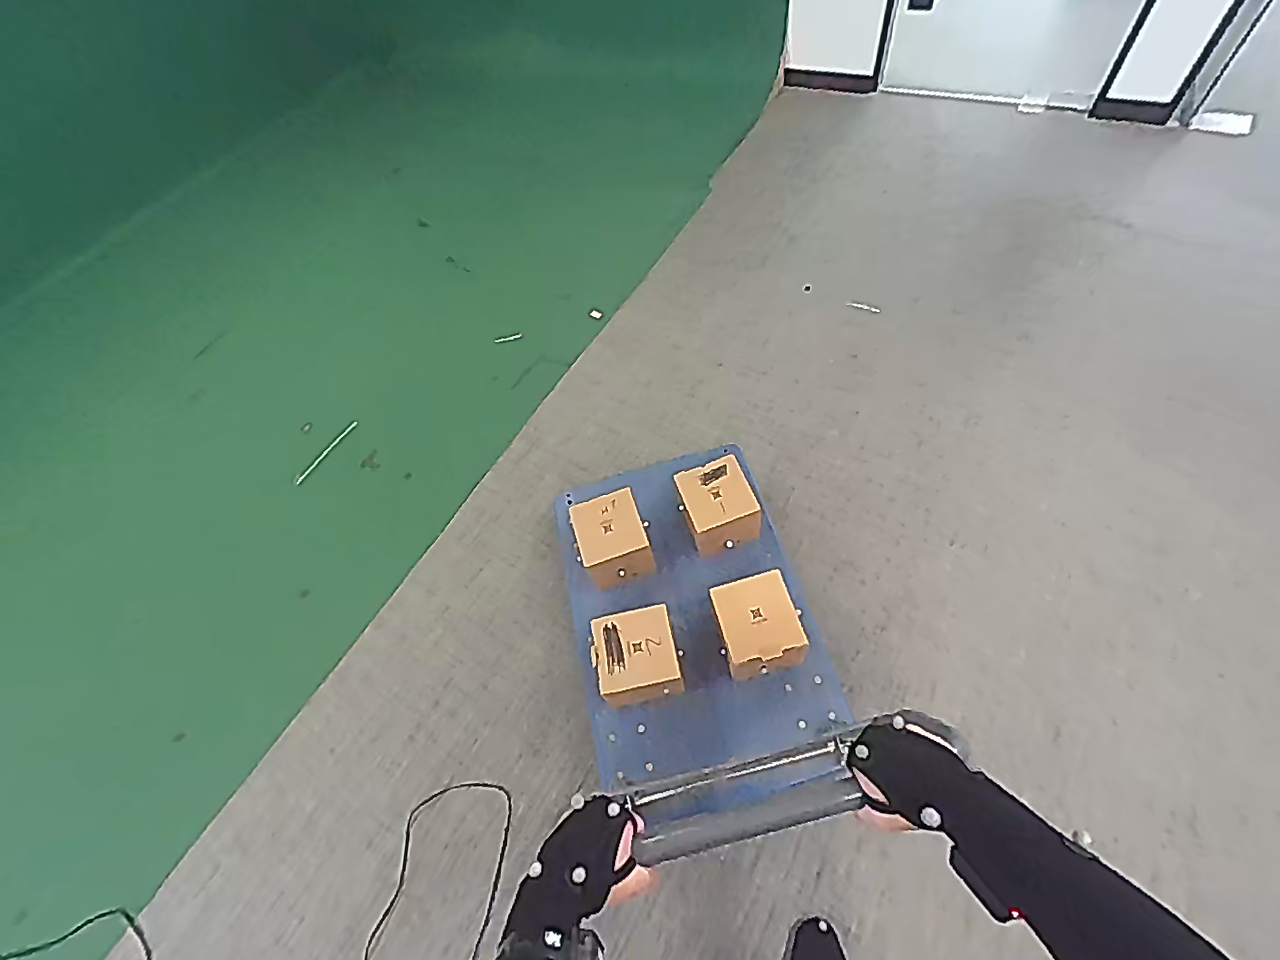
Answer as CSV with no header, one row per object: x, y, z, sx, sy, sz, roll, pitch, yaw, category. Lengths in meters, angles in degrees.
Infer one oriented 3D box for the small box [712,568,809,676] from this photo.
0.266,0.328,1.237,0.168,0.176,0.179,-16,59,0,small box

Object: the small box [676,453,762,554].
0.201,0.064,1.399,0.168,0.176,0.179,-20,60,-2,small box

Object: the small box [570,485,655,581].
-0.066,0.146,1.396,0.168,0.176,0.179,-18,59,-2,small box
